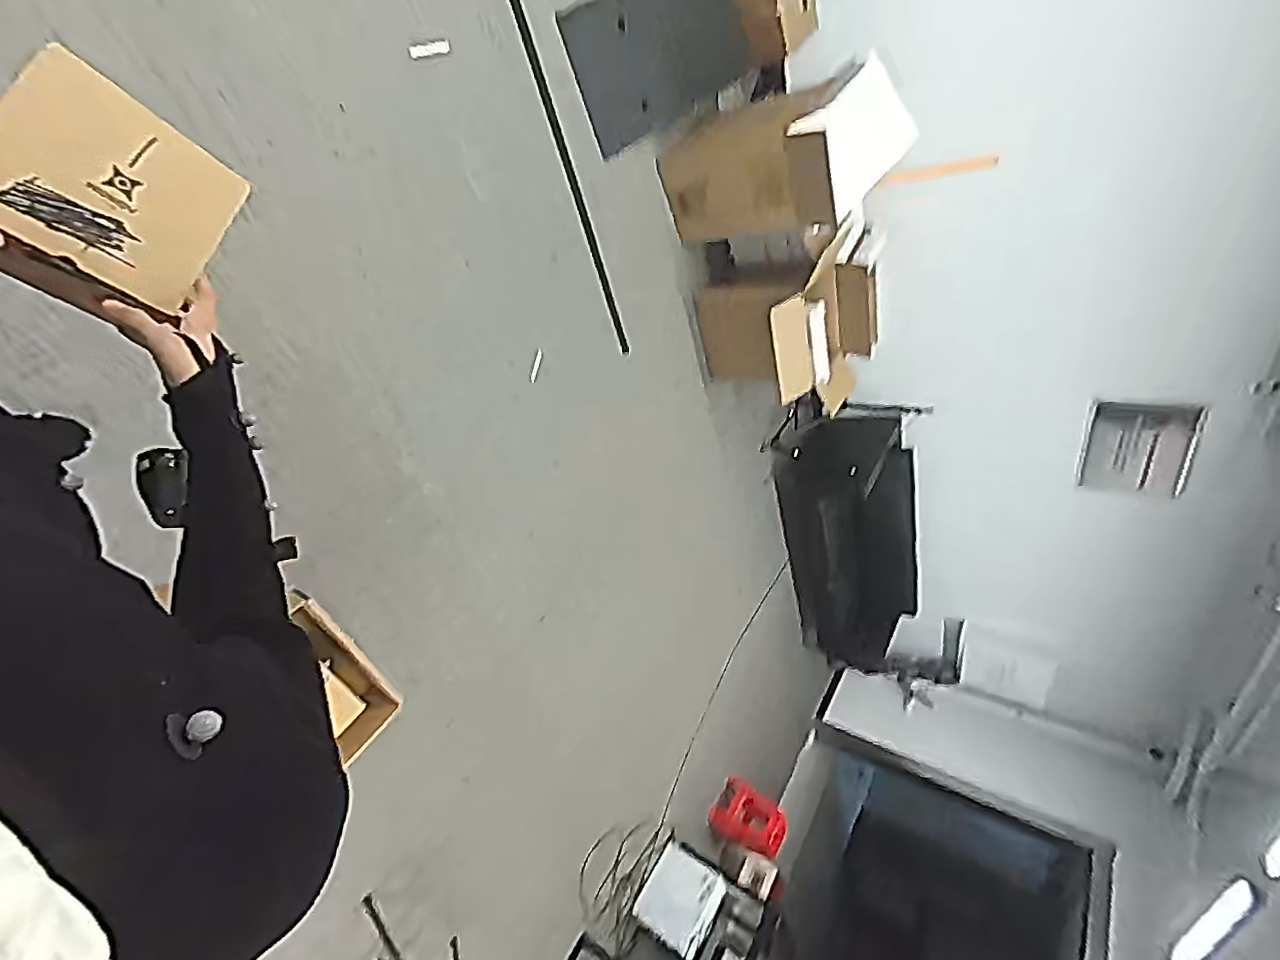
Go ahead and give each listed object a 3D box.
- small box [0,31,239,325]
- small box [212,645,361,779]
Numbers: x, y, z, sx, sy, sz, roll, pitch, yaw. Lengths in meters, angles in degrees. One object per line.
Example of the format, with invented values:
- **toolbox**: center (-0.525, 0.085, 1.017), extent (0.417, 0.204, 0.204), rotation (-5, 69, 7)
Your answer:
- **small box**: center (-0.556, -0.277, 0.543), extent (0.168, 0.176, 0.179), rotation (34, 66, -50)
- **small box**: center (-0.736, 0.475, 1.131), extent (0.168, 0.176, 0.179), rotation (-49, 134, -35)
